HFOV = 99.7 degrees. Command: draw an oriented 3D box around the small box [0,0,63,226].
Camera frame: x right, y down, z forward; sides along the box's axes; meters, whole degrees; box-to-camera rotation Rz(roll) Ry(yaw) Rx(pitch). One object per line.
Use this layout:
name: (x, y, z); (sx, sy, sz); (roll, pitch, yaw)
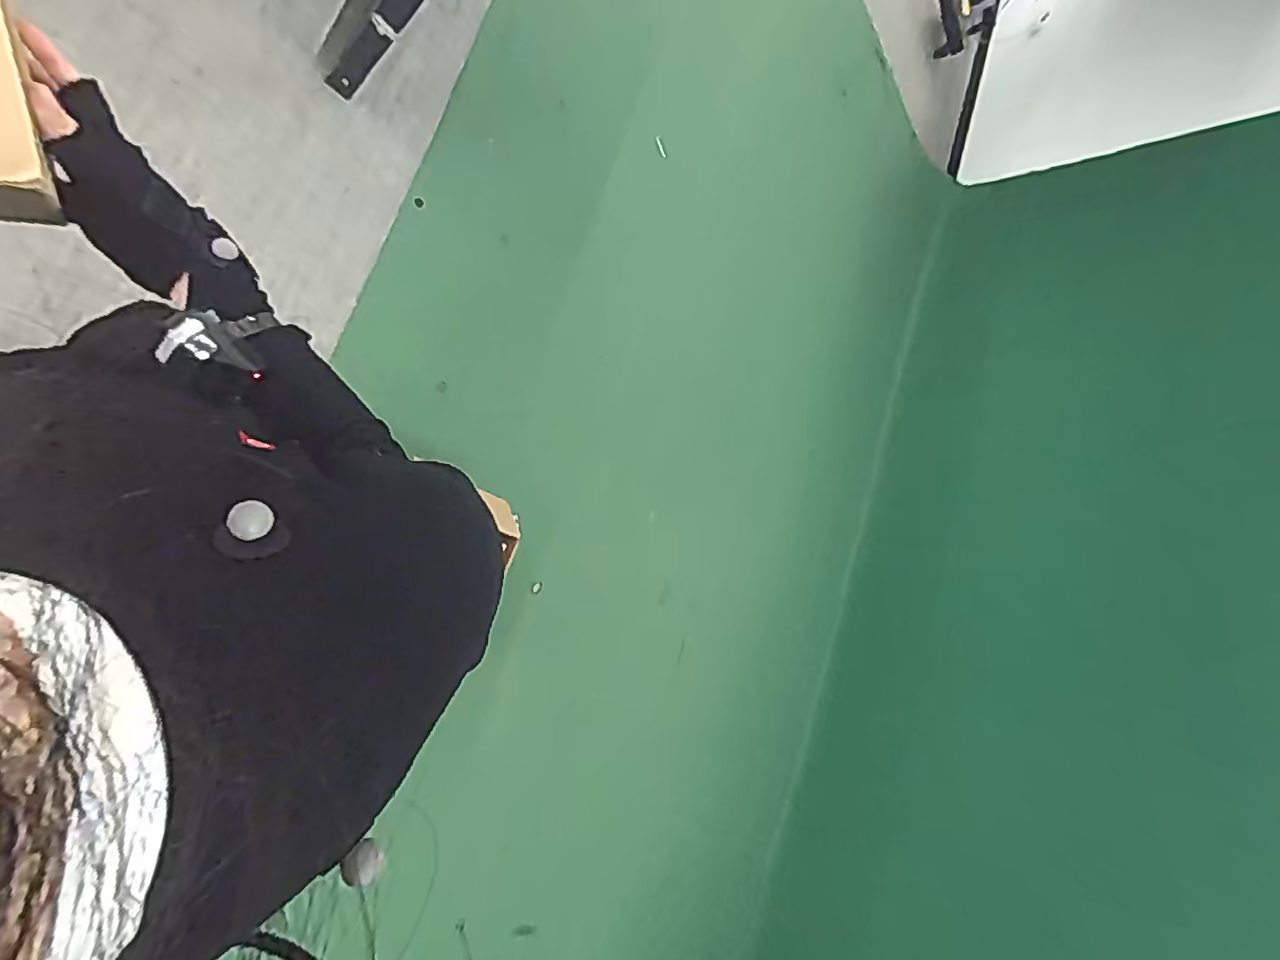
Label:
small box: (-0.452, -0.252, 0.292); (0.168, 0.176, 0.179); (-13, 111, -41)
